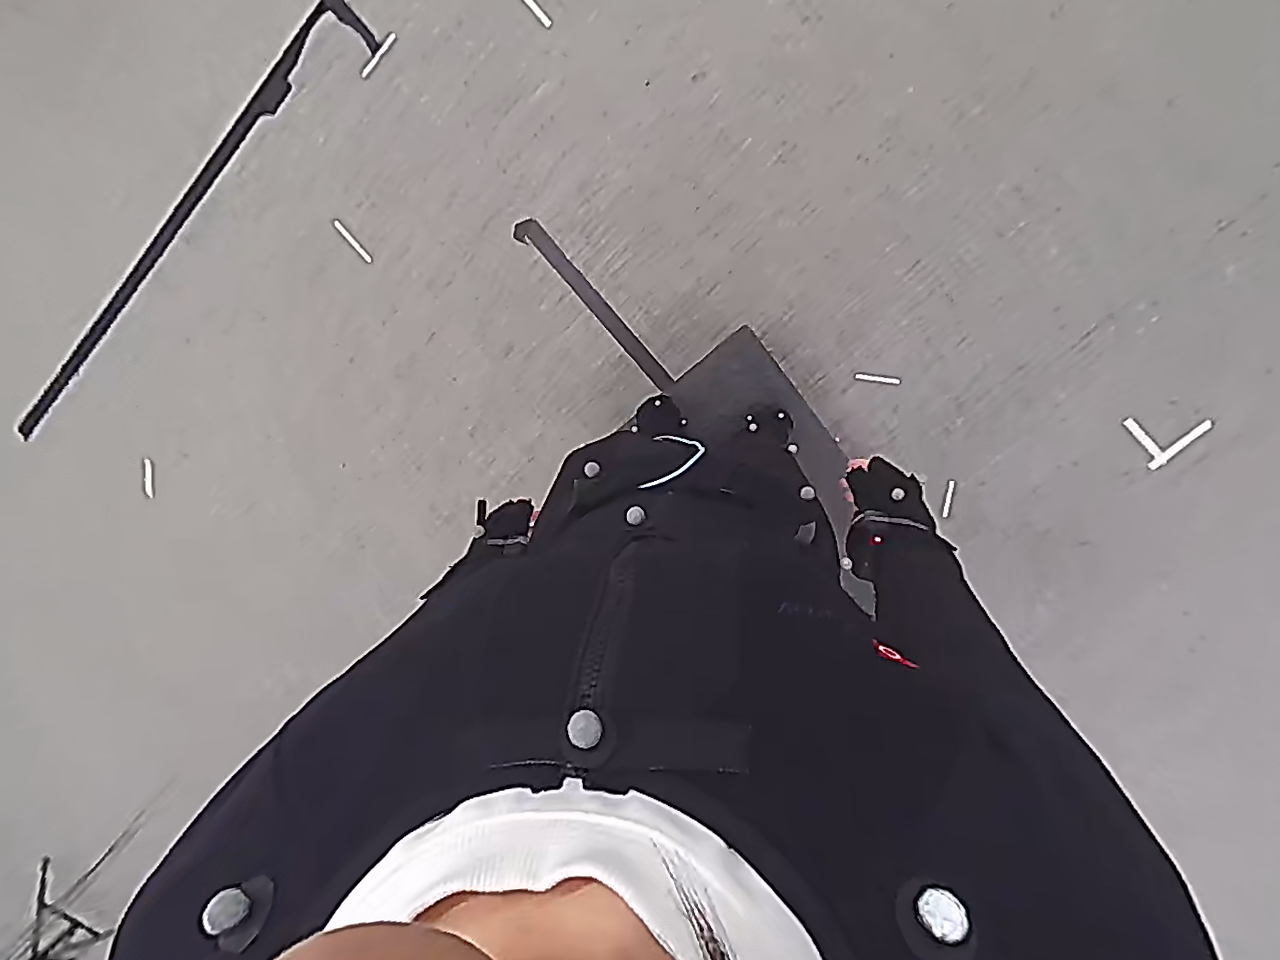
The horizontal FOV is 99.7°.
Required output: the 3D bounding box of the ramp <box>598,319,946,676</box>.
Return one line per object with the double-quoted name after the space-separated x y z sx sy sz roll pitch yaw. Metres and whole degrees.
0.390 0.102 1.498 0.509 0.206 0.991 -41 94 11 "ramp"
